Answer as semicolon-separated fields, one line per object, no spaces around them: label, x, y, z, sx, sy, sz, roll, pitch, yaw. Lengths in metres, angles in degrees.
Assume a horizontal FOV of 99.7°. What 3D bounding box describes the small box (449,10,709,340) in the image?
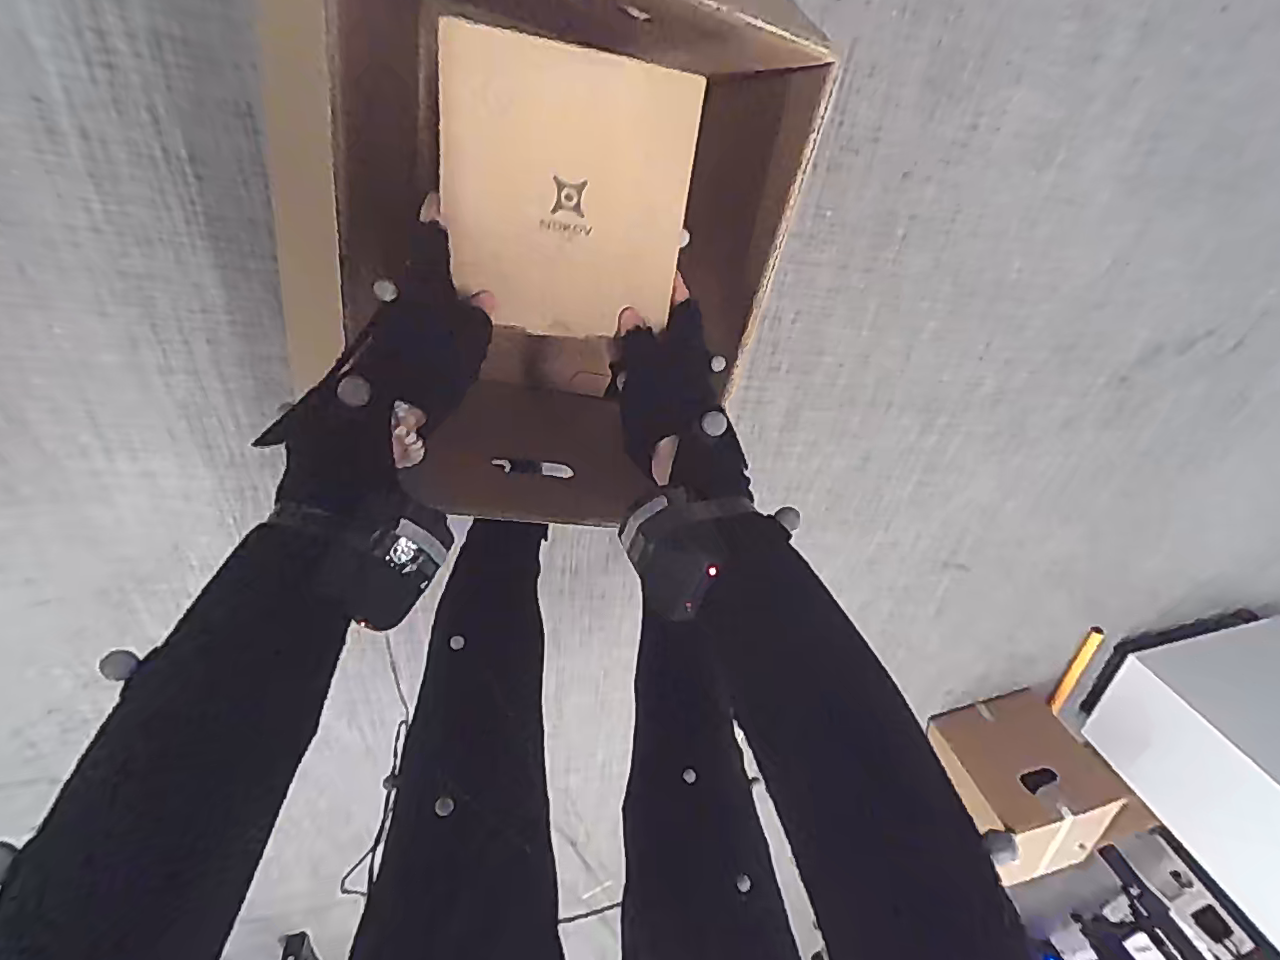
small box;-0.062;-0.225;0.437;0.168;0.176;0.179;2;115;-15
